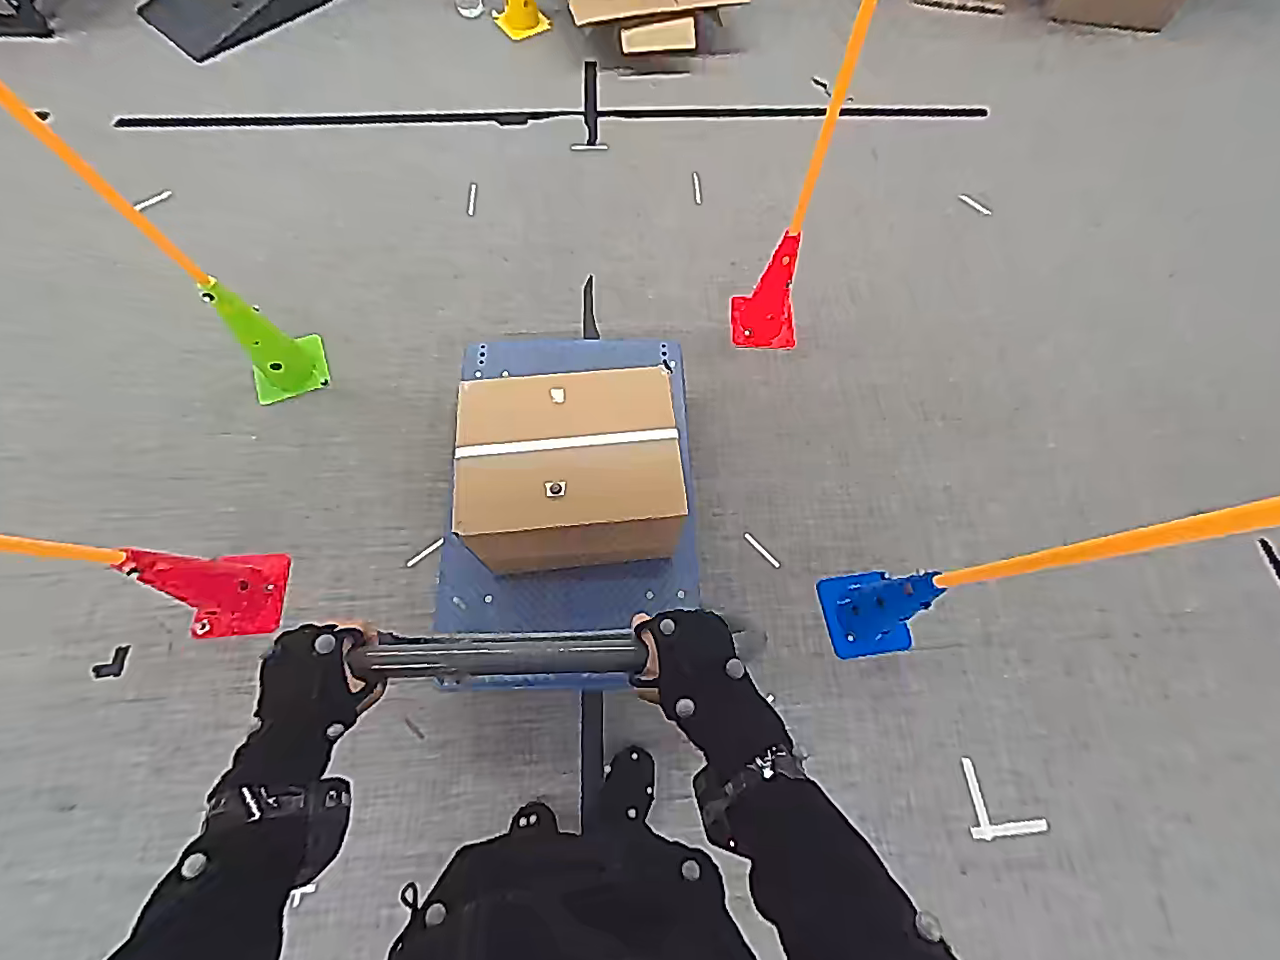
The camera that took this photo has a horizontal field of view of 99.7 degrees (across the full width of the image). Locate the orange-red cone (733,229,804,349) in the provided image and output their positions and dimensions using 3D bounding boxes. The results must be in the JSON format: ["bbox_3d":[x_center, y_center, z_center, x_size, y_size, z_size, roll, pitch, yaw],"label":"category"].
[{"bbox_3d":[0.400,-0.566,1.550,0.199,0.360,0.198,4,67,-1],"label":"orange-red cone"}]

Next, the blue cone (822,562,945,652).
[{"bbox_3d":[0.573,0.263,1.213,0.193,0.380,0.192,-6,66,-5],"label":"blue cone"}]
